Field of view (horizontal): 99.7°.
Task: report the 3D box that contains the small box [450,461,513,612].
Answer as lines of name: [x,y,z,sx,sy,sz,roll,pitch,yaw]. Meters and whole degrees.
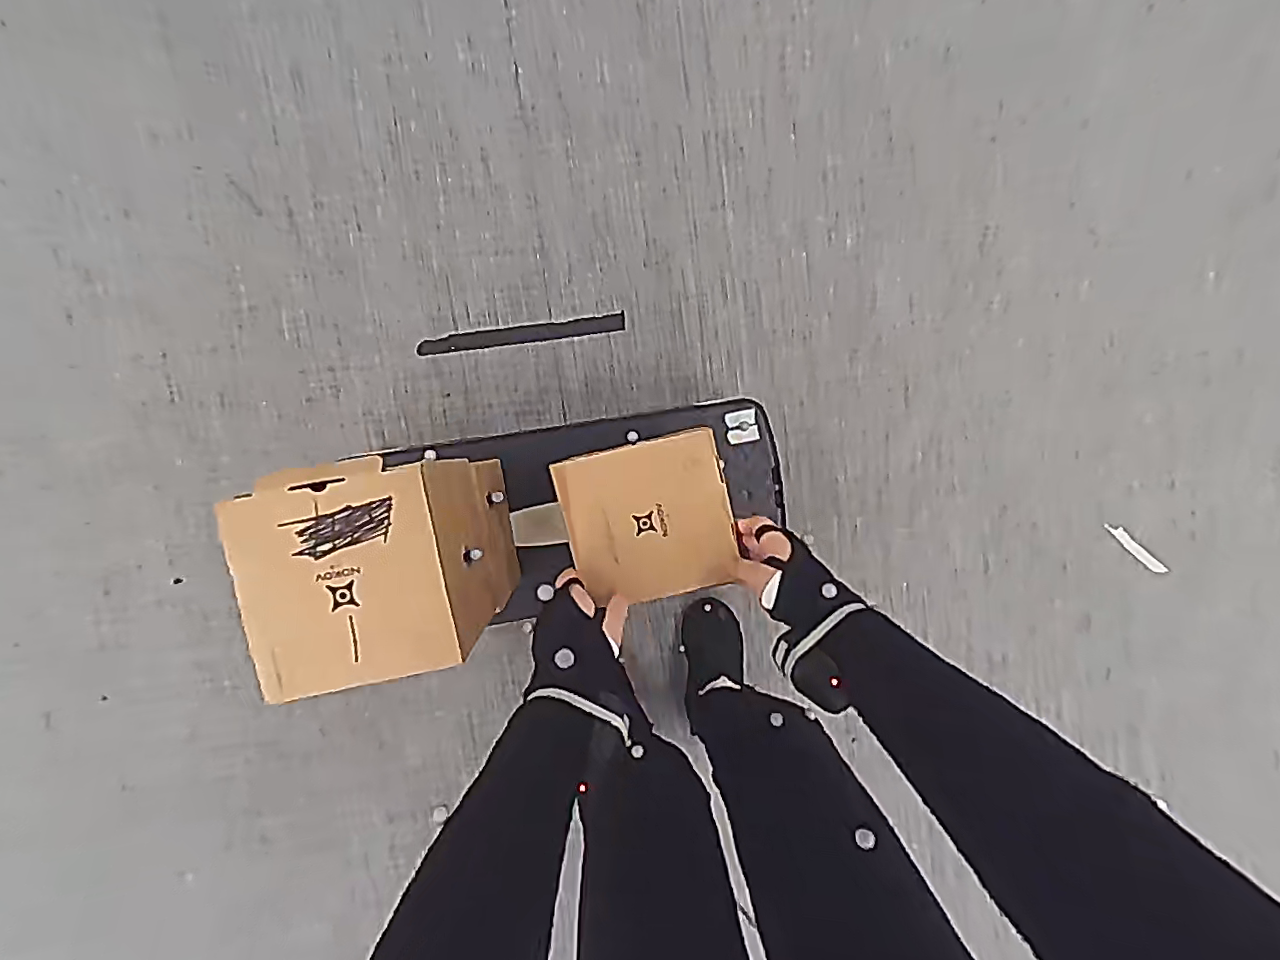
small box: [-0.262,0.072,0.685,0.168,0.176,0.179,-9,95,-4]

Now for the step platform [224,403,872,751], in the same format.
step platform: [-0.090,0.096,0.667,0.684,0.204,0.286,-9,95,-5]

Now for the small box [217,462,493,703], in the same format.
small box: [-0.251,0.080,0.522,0.168,0.176,0.179,-11,96,-4]

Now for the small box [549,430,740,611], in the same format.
small box: [0.006,0.036,0.649,0.179,0.176,0.168,-13,94,2]
